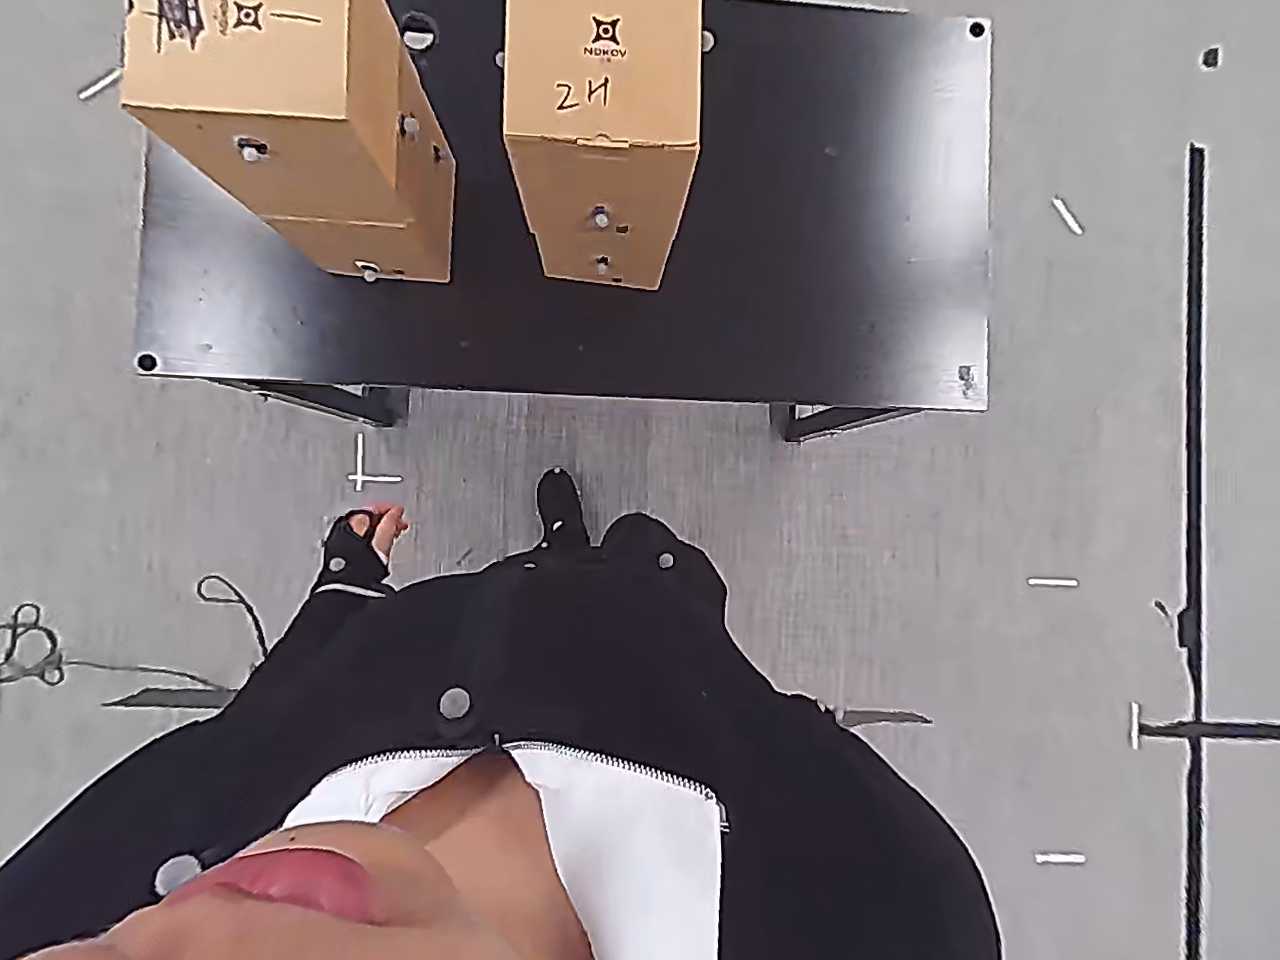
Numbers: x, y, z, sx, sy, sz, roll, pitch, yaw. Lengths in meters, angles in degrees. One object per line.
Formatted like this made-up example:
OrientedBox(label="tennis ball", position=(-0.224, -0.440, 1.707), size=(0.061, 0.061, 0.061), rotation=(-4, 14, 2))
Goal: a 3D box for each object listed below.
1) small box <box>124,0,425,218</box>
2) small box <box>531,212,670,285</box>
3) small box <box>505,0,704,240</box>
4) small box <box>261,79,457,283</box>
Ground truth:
OrientedBox(label="small box", position=(-0.325, -0.373, 0.516), size=(0.179, 0.176, 0.168), rotation=(1, 88, -4))
OrientedBox(label="small box", position=(-0.040, -0.372, 0.701), size=(0.168, 0.176, 0.179), rotation=(6, 89, -4))
OrientedBox(label="small box", position=(-0.034, -0.367, 0.536), size=(0.168, 0.176, 0.179), rotation=(2, 88, -3))
OrientedBox(label="small box", position=(-0.337, -0.370, 0.680), size=(0.168, 0.176, 0.179), rotation=(2, 89, -3))
